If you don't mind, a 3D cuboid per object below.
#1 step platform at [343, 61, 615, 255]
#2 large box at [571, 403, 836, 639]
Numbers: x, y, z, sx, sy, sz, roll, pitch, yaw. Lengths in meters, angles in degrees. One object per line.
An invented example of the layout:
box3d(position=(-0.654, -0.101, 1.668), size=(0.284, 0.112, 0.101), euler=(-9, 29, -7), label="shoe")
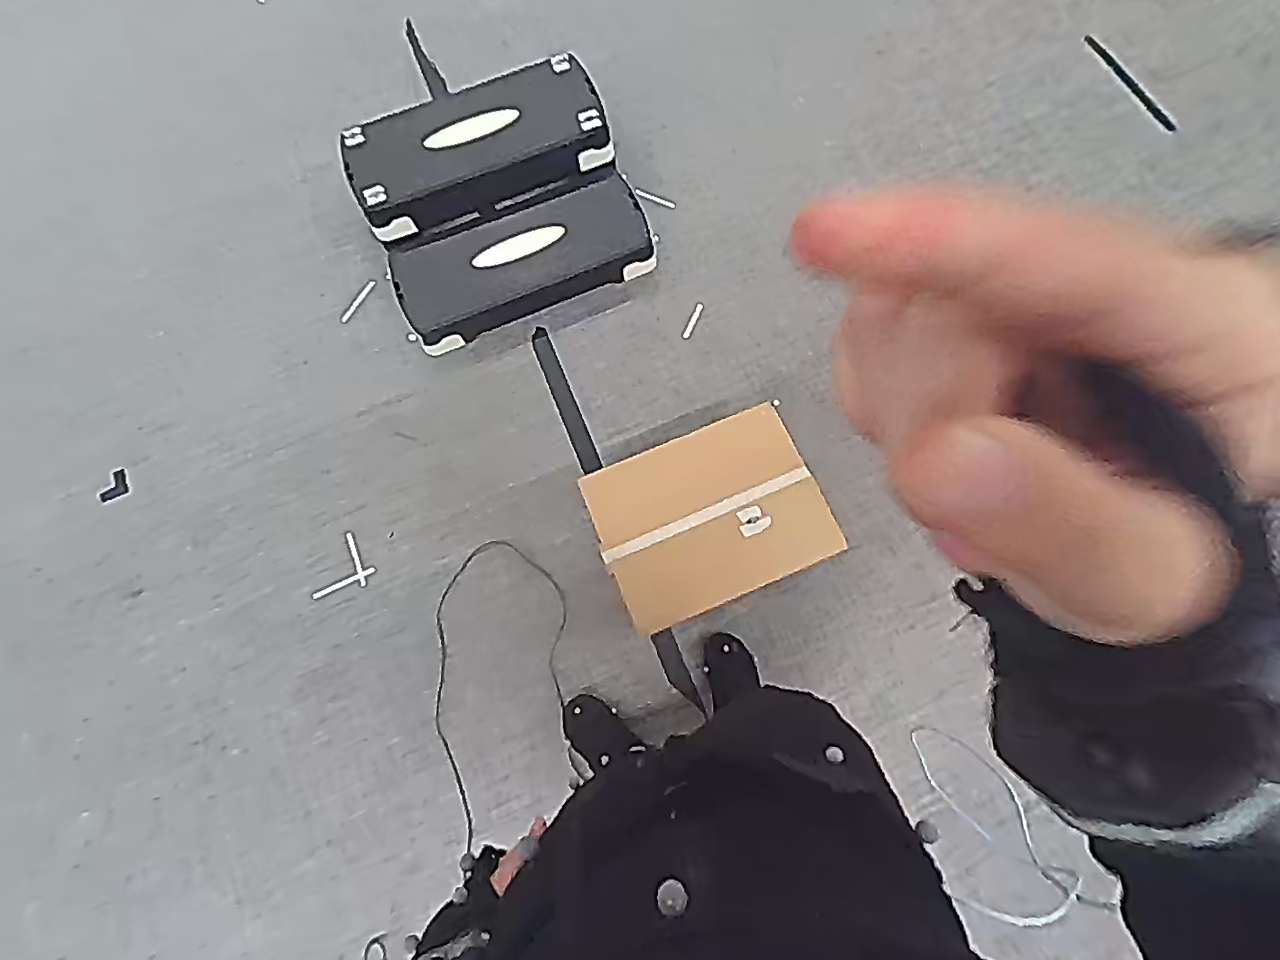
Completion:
box3d(position=(-0.420, -0.859, 1.445), size=(0.684, 0.204, 0.286), euler=(-18, 76, -3), label="step platform")
box3d(position=(0.115, 0.104, 1.123), size=(0.408, 0.320, 0.320), euler=(-23, 76, -5), label="large box")
